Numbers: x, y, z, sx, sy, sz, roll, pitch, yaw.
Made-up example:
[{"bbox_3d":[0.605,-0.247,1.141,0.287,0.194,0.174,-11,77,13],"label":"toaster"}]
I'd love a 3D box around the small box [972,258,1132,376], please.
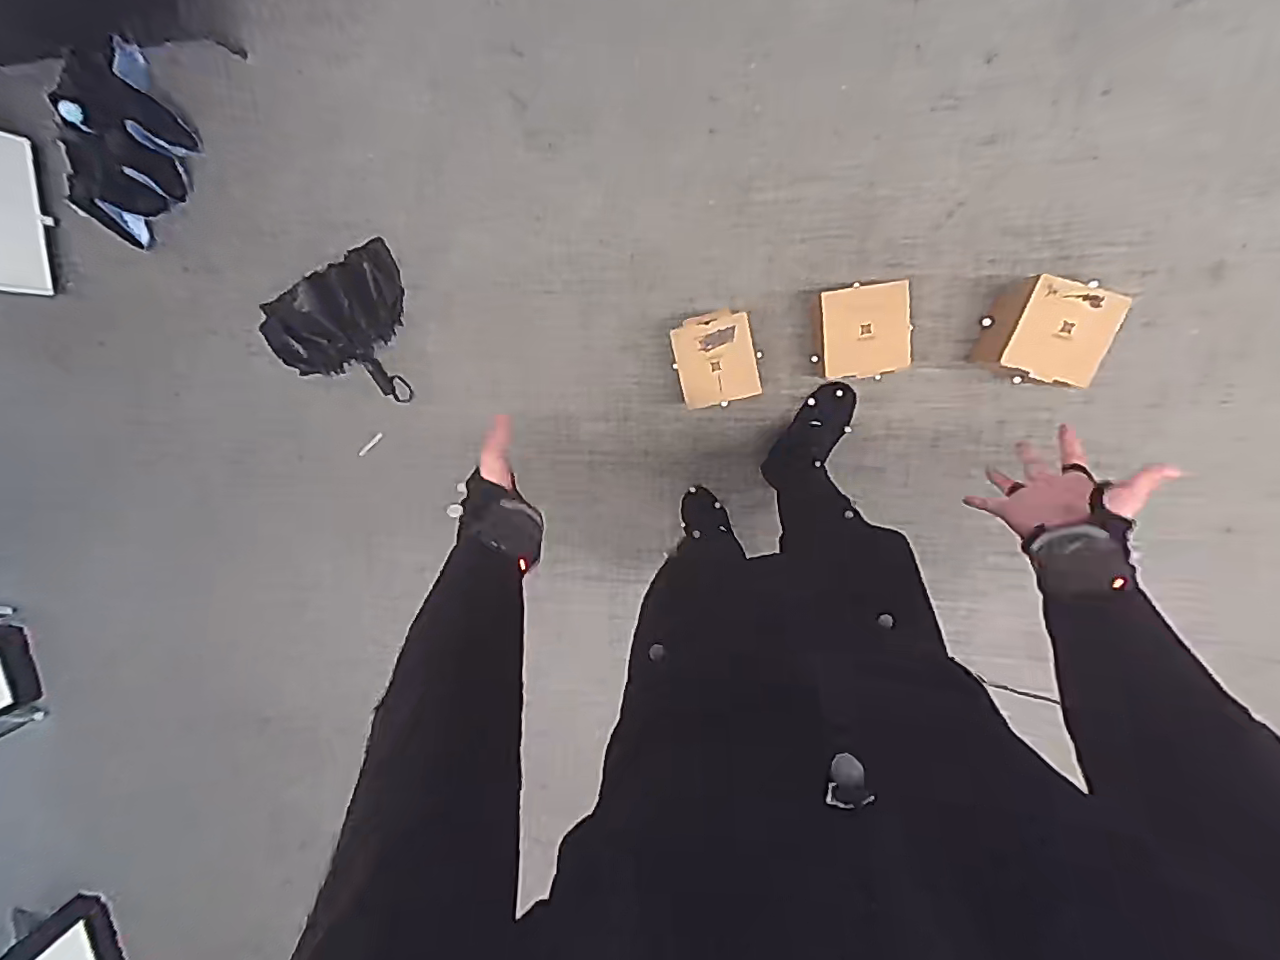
[{"bbox_3d":[0.798,-0.319,1.075,0.168,0.176,0.179,19,107,6],"label":"small box"}]

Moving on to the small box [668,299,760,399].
[{"bbox_3d":[0.167,-0.289,1.203,0.168,0.176,0.179,-12,102,14],"label":"small box"}]

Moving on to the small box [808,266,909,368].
[{"bbox_3d":[0.454,-0.337,1.139,0.168,0.176,0.179,-6,102,11],"label":"small box"}]
